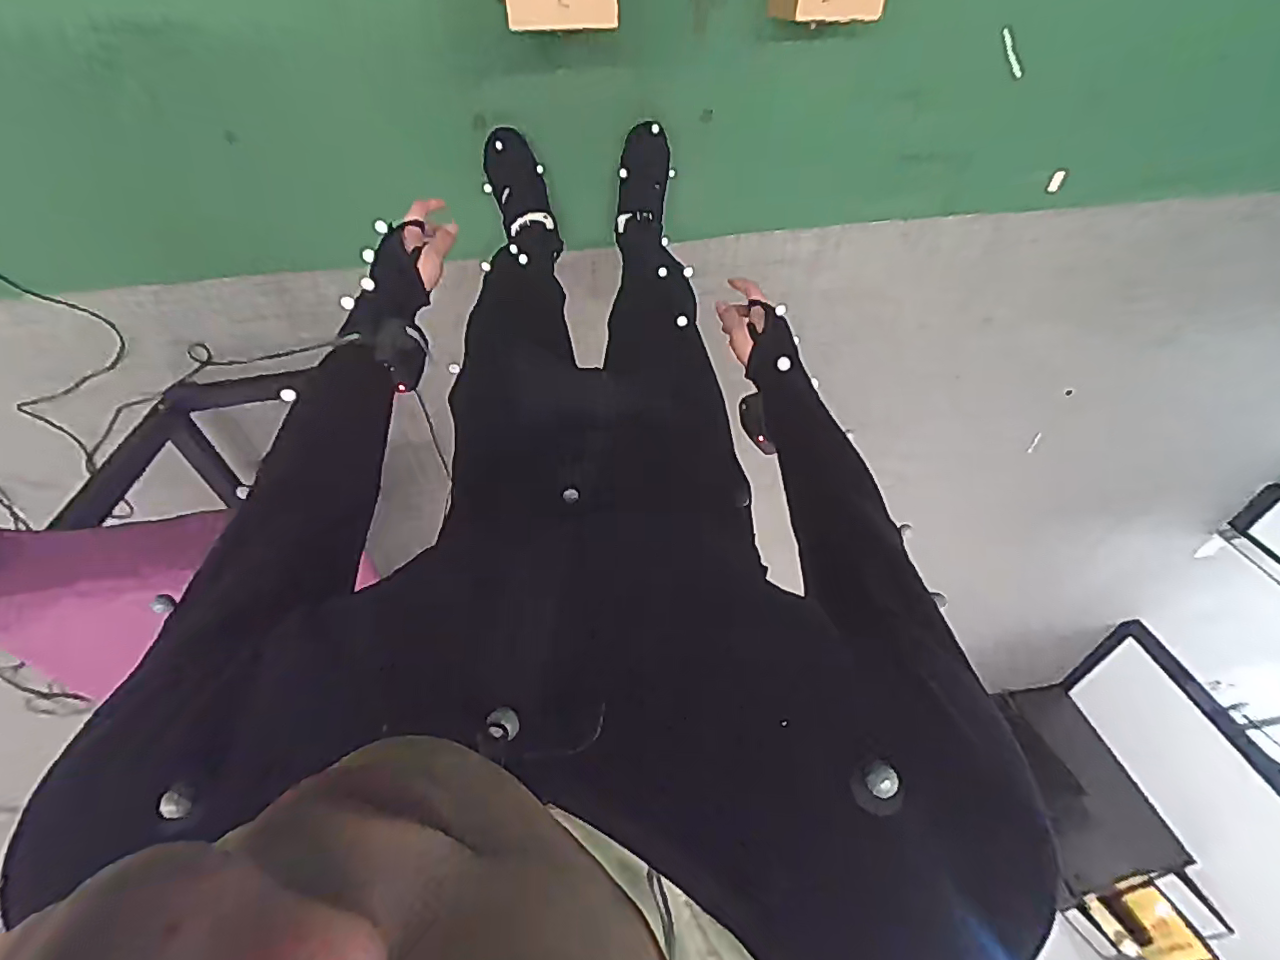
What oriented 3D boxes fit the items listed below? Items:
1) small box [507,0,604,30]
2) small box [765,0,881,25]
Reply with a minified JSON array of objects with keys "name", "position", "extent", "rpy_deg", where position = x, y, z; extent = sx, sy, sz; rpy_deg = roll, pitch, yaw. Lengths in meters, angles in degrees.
[{"name":"small box","position":[-0.153,-0.900,0.935],"extent":[0.168,0.176,0.179],"rpy_deg":[-7,132,-6]},{"name":"small box","position":[0.343,-0.953,0.993],"extent":[0.168,0.176,0.179],"rpy_deg":[-6,133,-7]}]
